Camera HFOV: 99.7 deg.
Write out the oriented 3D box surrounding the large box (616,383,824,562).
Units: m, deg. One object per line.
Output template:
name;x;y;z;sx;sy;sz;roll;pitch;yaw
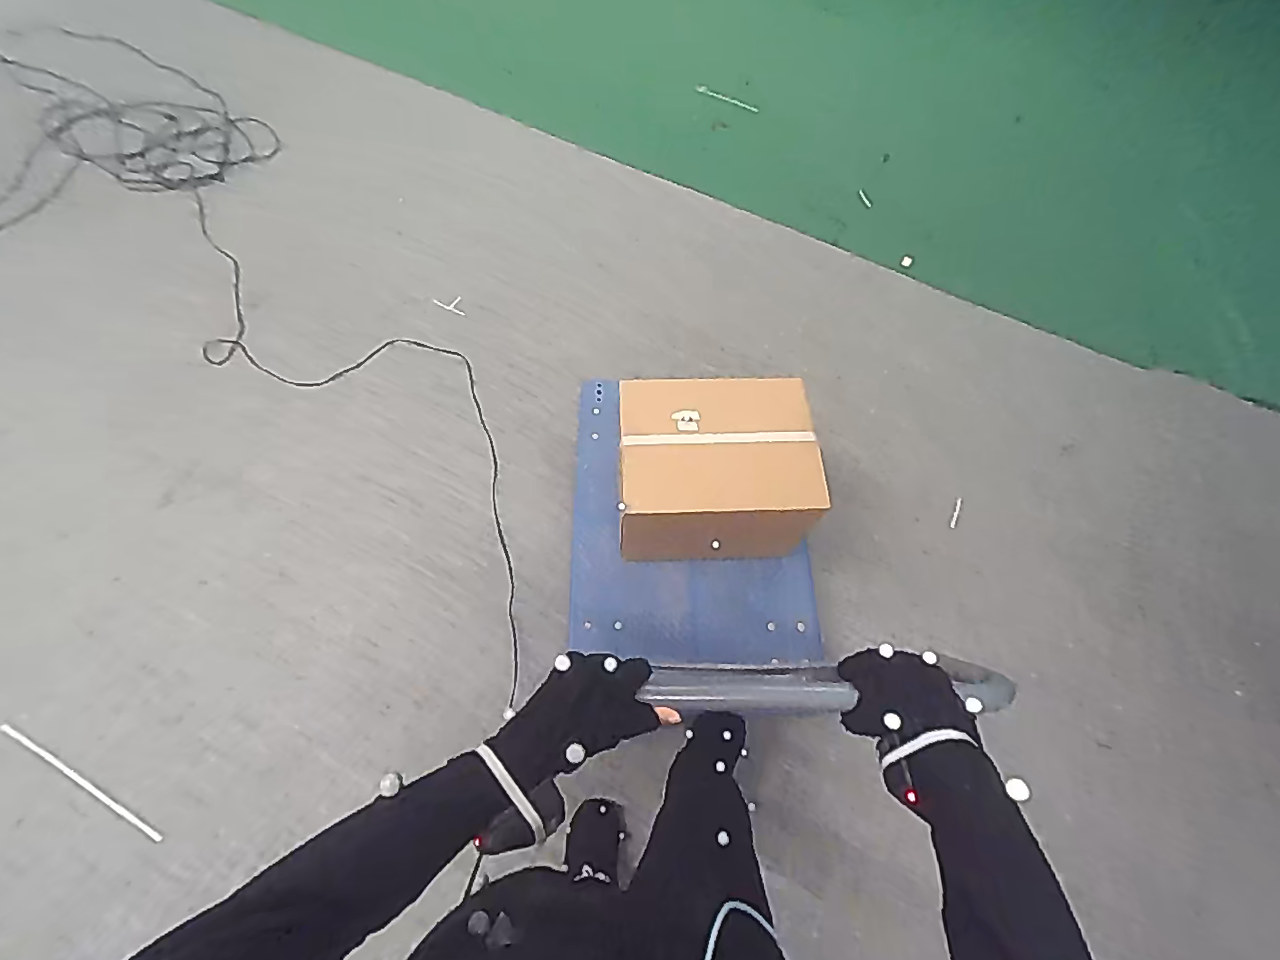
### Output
large box;0.153;-0.006;1.247;0.408;0.320;0.320;-1;64;-3
